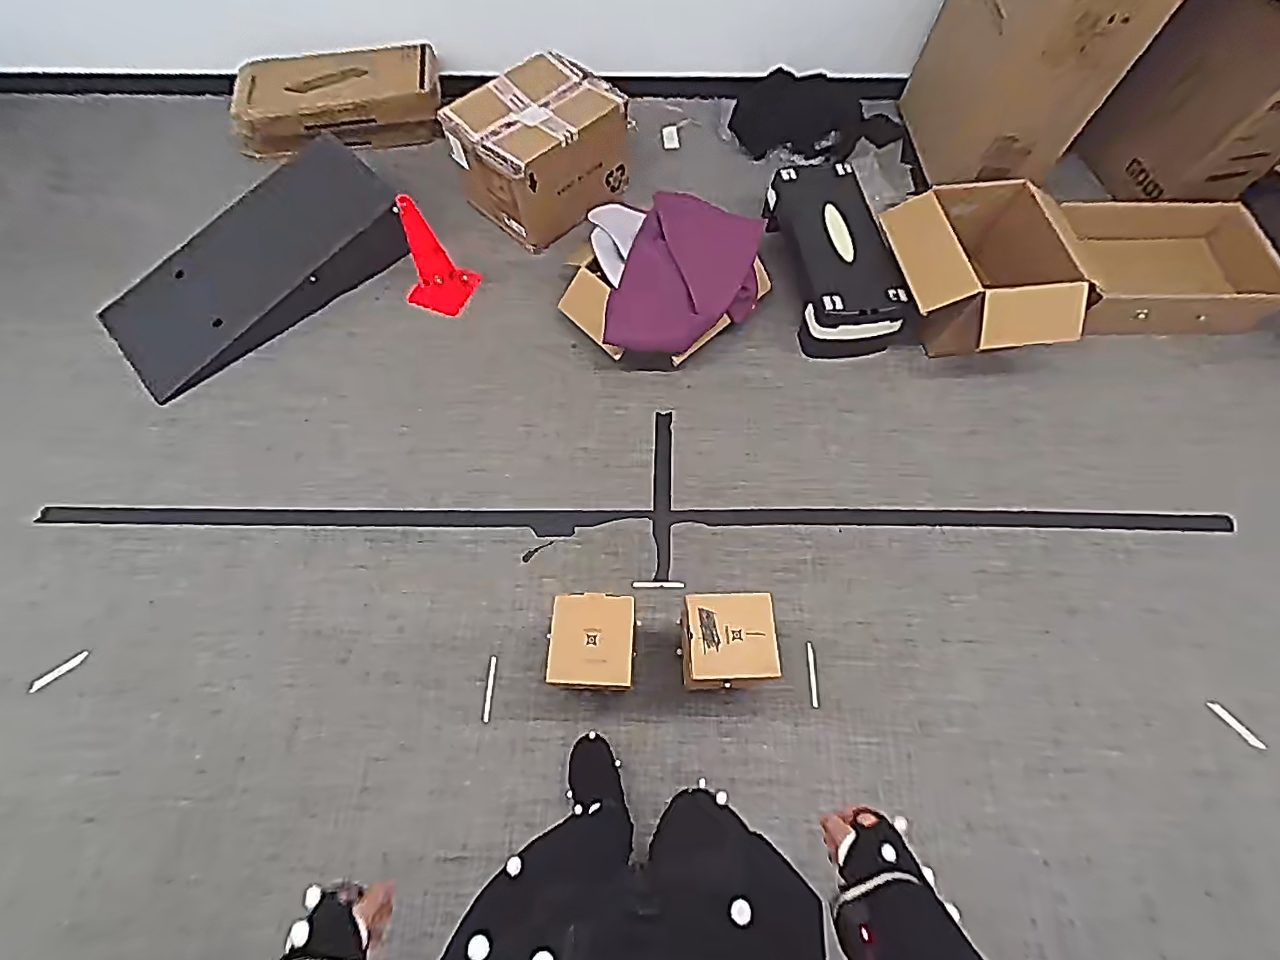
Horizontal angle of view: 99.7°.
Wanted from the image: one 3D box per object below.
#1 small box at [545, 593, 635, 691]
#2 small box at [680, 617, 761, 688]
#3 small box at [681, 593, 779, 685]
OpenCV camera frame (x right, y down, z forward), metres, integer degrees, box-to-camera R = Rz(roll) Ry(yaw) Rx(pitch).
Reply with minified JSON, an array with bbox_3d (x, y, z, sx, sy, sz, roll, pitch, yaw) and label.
[{"bbox_3d":[-0.097,0.344,1.134,0.168,0.176,0.179,2,67,2],"label":"small box"},{"bbox_3d":[0.184,0.403,1.290,0.168,0.176,0.179,-1,67,-1],"label":"small box"},{"bbox_3d":[0.178,0.338,1.138,0.179,0.176,0.168,-1,66,-2],"label":"small box"}]
